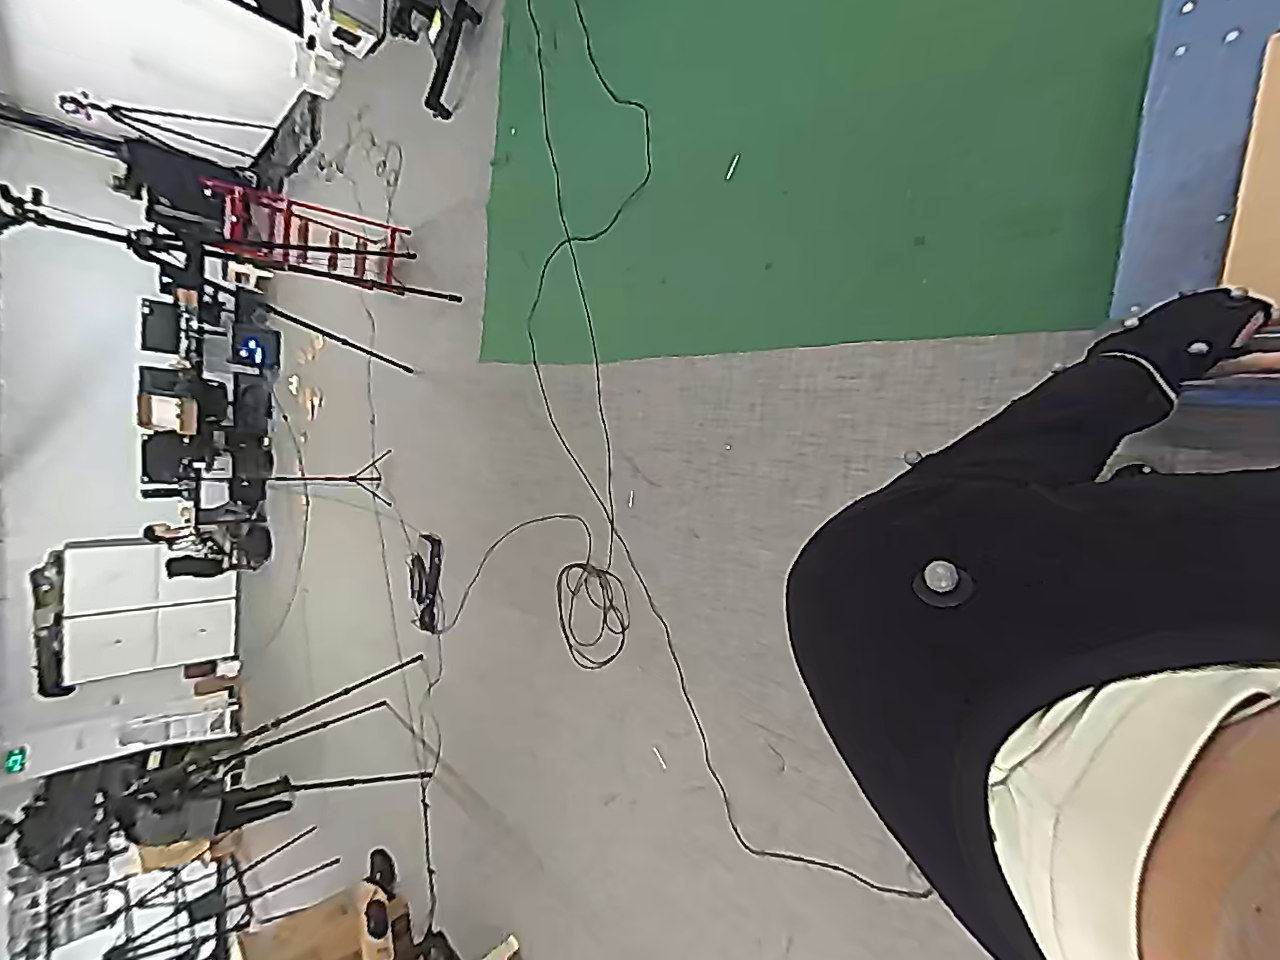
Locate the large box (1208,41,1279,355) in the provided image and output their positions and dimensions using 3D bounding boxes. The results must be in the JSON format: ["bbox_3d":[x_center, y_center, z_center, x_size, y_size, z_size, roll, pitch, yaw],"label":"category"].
[{"bbox_3d":[1.108,-0.425,0.815,0.320,0.320,0.408,9,95,43],"label":"large box"}]
